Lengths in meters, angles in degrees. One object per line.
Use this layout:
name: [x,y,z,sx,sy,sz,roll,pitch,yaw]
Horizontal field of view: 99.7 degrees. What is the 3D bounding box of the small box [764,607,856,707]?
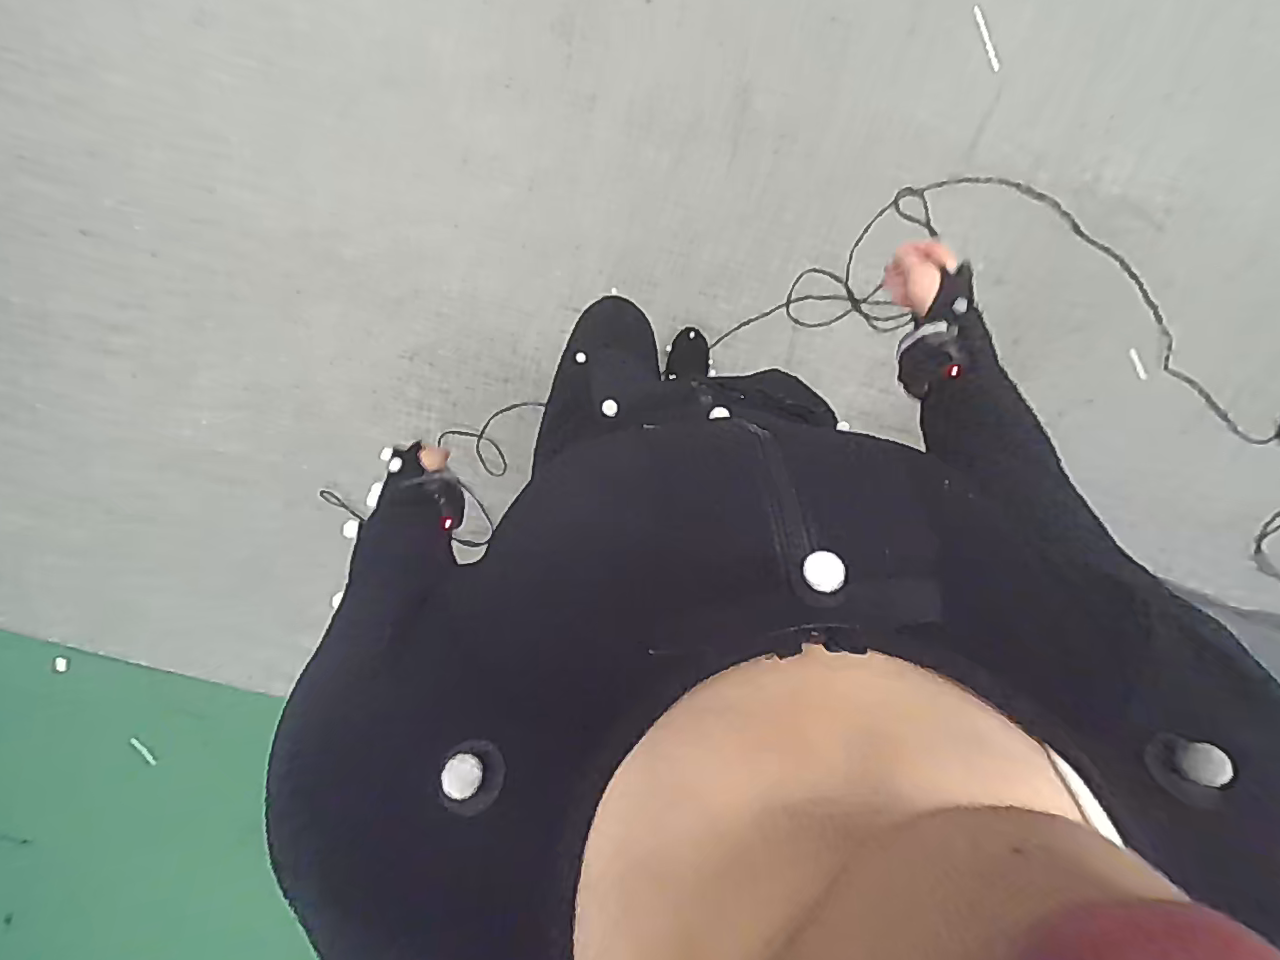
small box: [0.478,0.505,1.560,0.168,0.176,0.179,35,102,-10]
